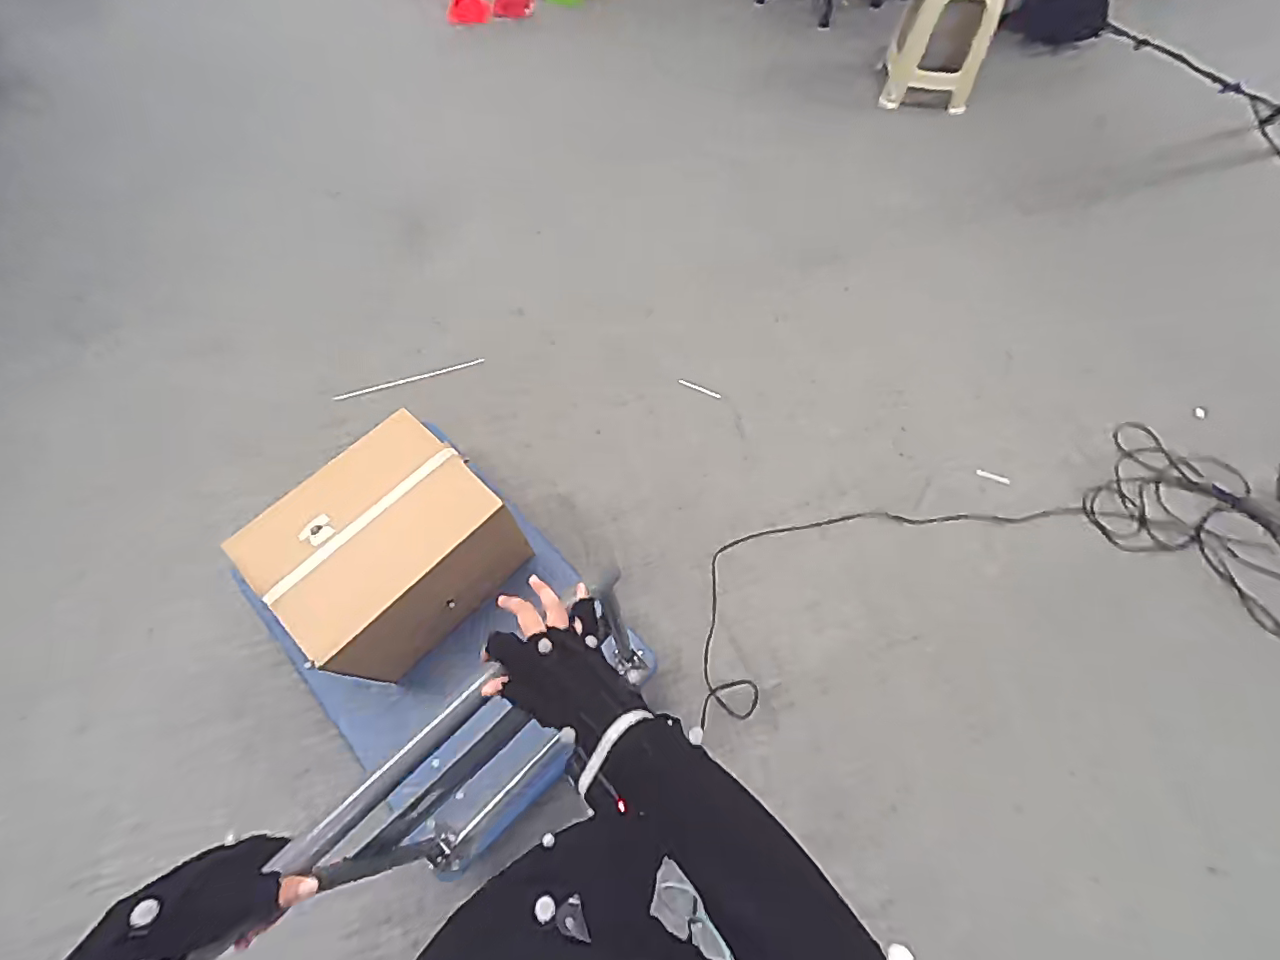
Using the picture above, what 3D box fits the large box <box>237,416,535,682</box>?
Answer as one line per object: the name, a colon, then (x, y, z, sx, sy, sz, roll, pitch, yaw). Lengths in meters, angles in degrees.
large box: (-0.489, 0.154, 1.130, 0.320, 0.320, 0.408, 40, 72, 18)
